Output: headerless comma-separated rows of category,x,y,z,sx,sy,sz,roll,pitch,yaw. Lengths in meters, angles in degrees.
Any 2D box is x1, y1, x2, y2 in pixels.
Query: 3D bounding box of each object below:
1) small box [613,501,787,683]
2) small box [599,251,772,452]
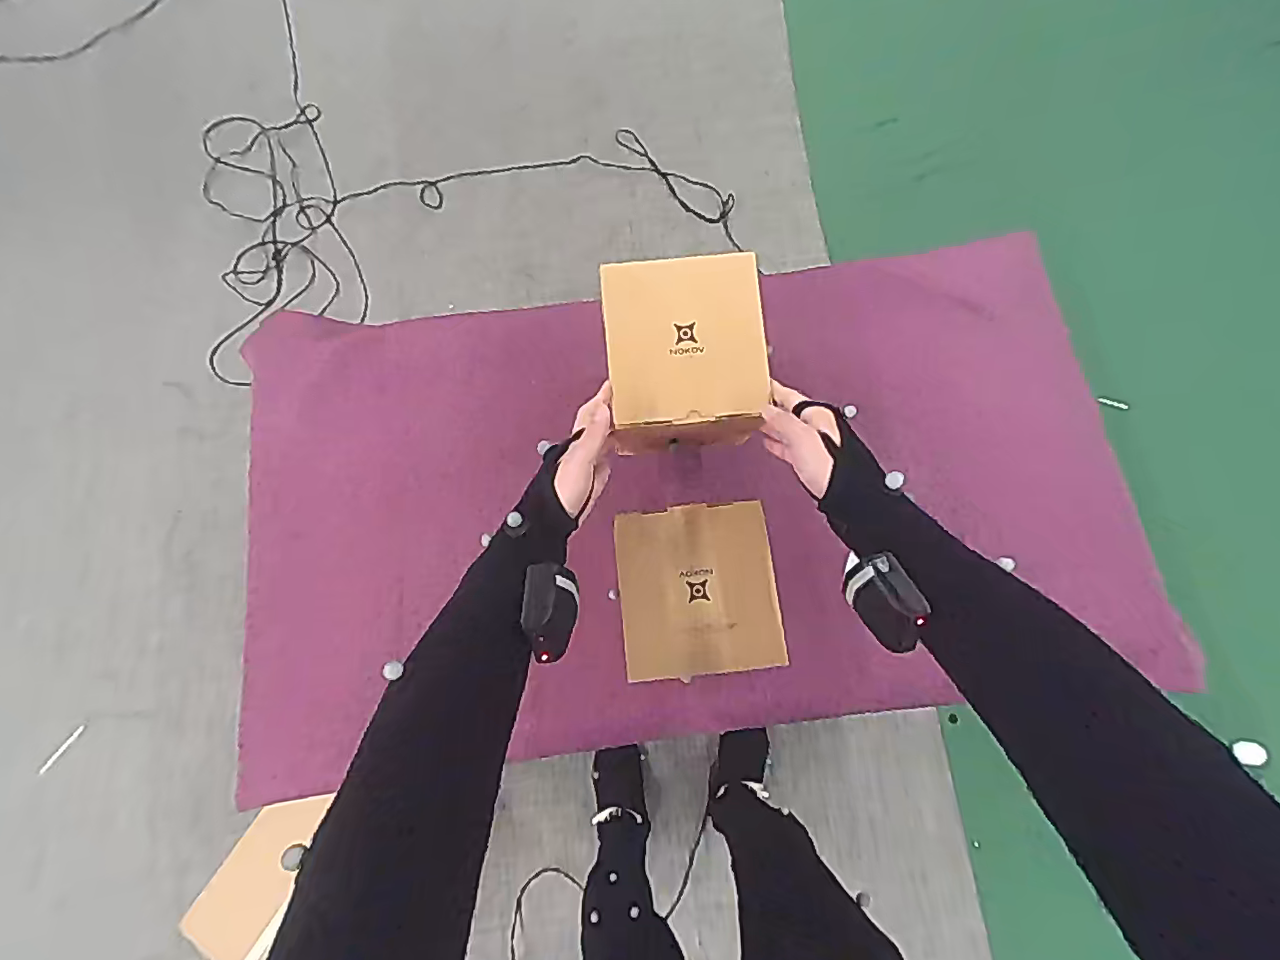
small box,0.060,0.133,0.632,0.168,0.176,0.179,-6,75,1
small box,0.043,-0.136,0.627,0.168,0.176,0.179,-6,85,-1
